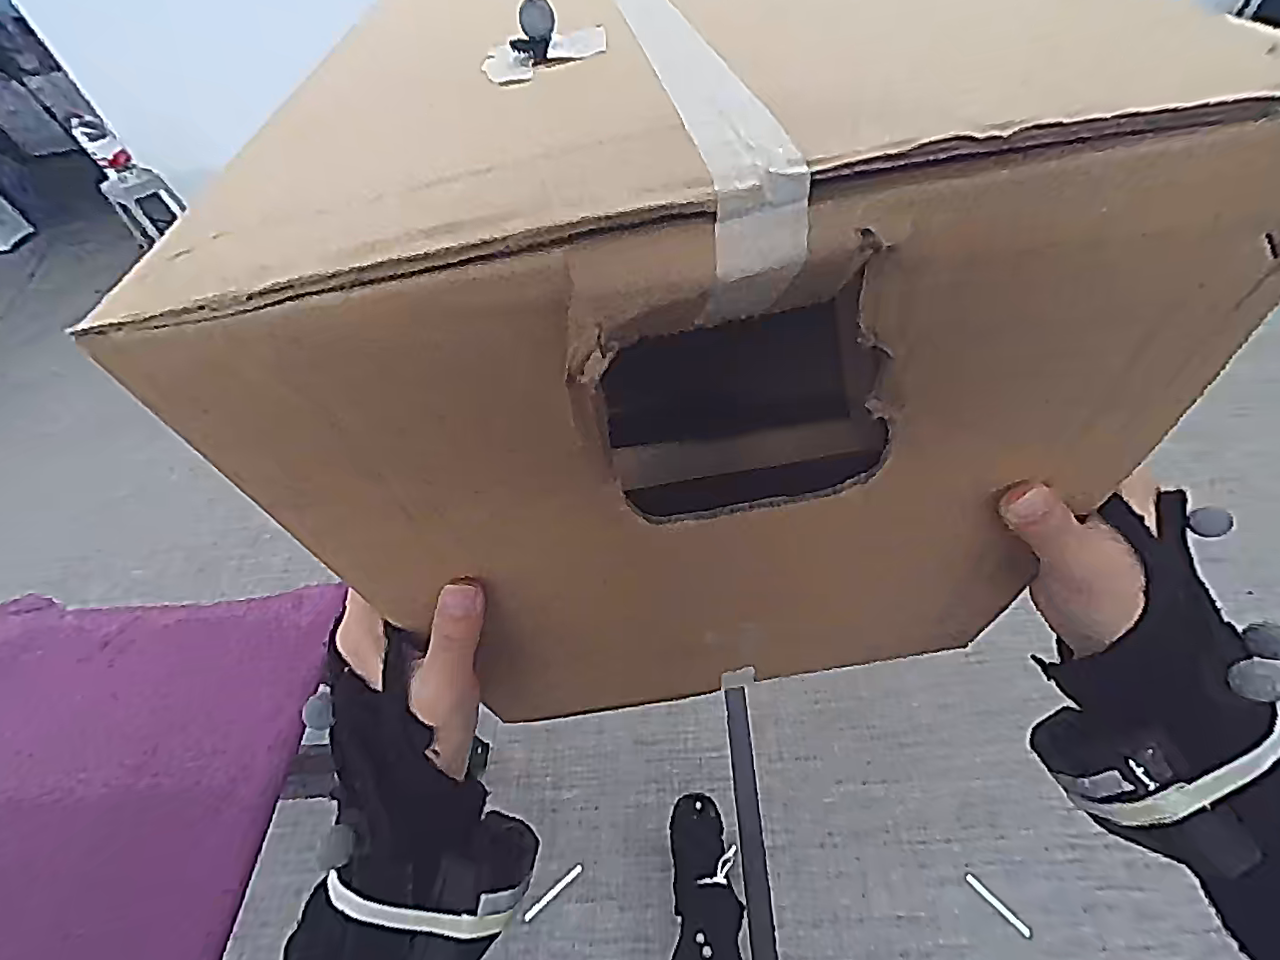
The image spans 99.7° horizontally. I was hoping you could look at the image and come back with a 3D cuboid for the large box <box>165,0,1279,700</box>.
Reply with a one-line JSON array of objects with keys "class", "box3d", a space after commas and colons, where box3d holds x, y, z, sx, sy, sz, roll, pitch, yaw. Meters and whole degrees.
[{"class": "large box", "box3d": [0.016, -0.118, 0.373, 0.320, 0.320, 0.408, -11, 51, 1]}]
